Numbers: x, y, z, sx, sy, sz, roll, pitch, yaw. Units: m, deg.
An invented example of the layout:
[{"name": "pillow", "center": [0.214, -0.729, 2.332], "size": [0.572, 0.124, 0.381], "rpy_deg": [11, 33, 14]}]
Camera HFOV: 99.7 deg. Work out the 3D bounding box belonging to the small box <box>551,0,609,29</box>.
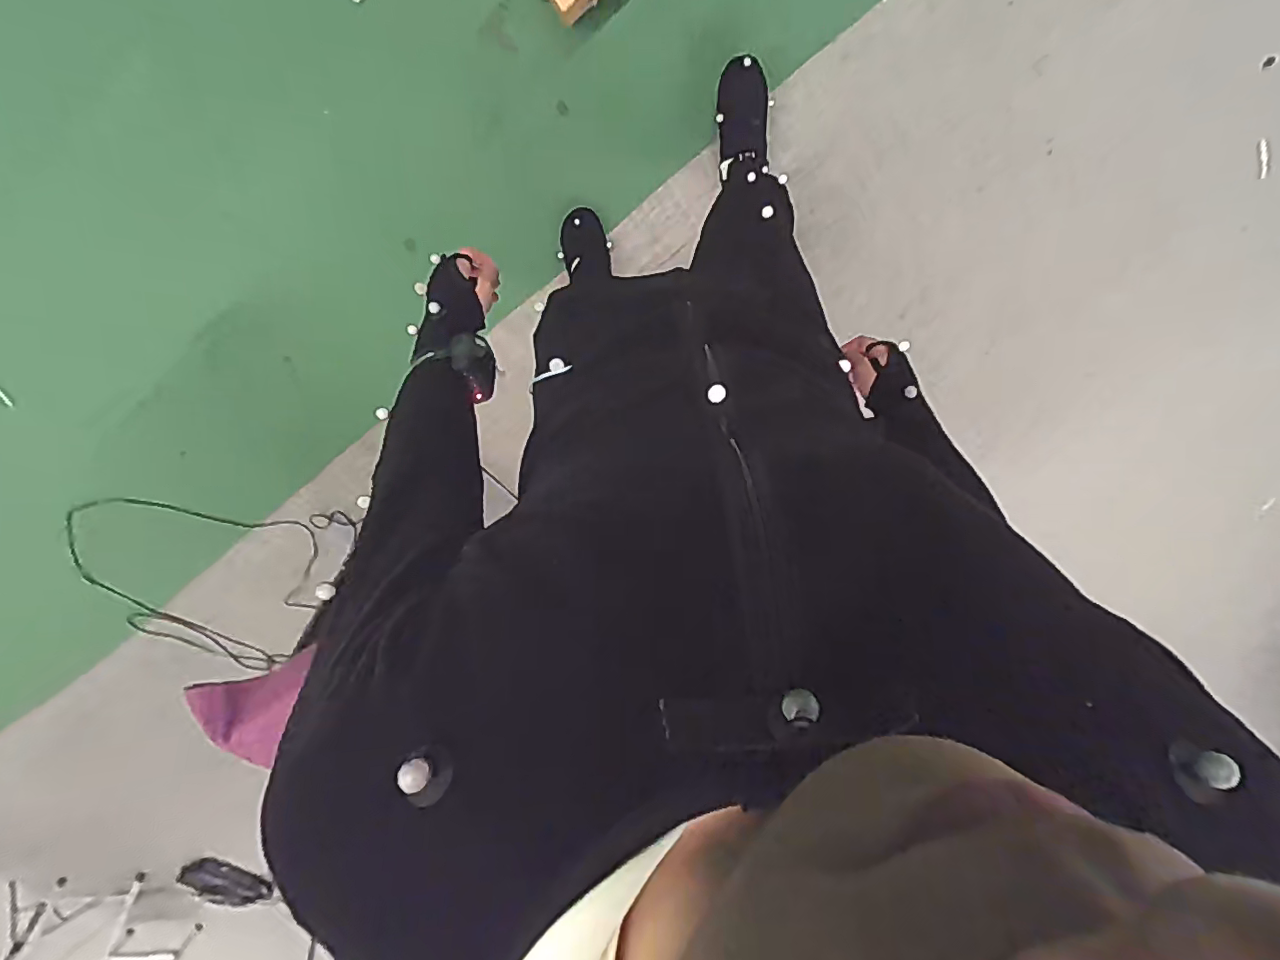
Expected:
[{"name": "small box", "center": [-0.123, -1.008, 1.024], "size": [0.168, 0.176, 0.179], "rpy_deg": [-32, 120, 15]}]
